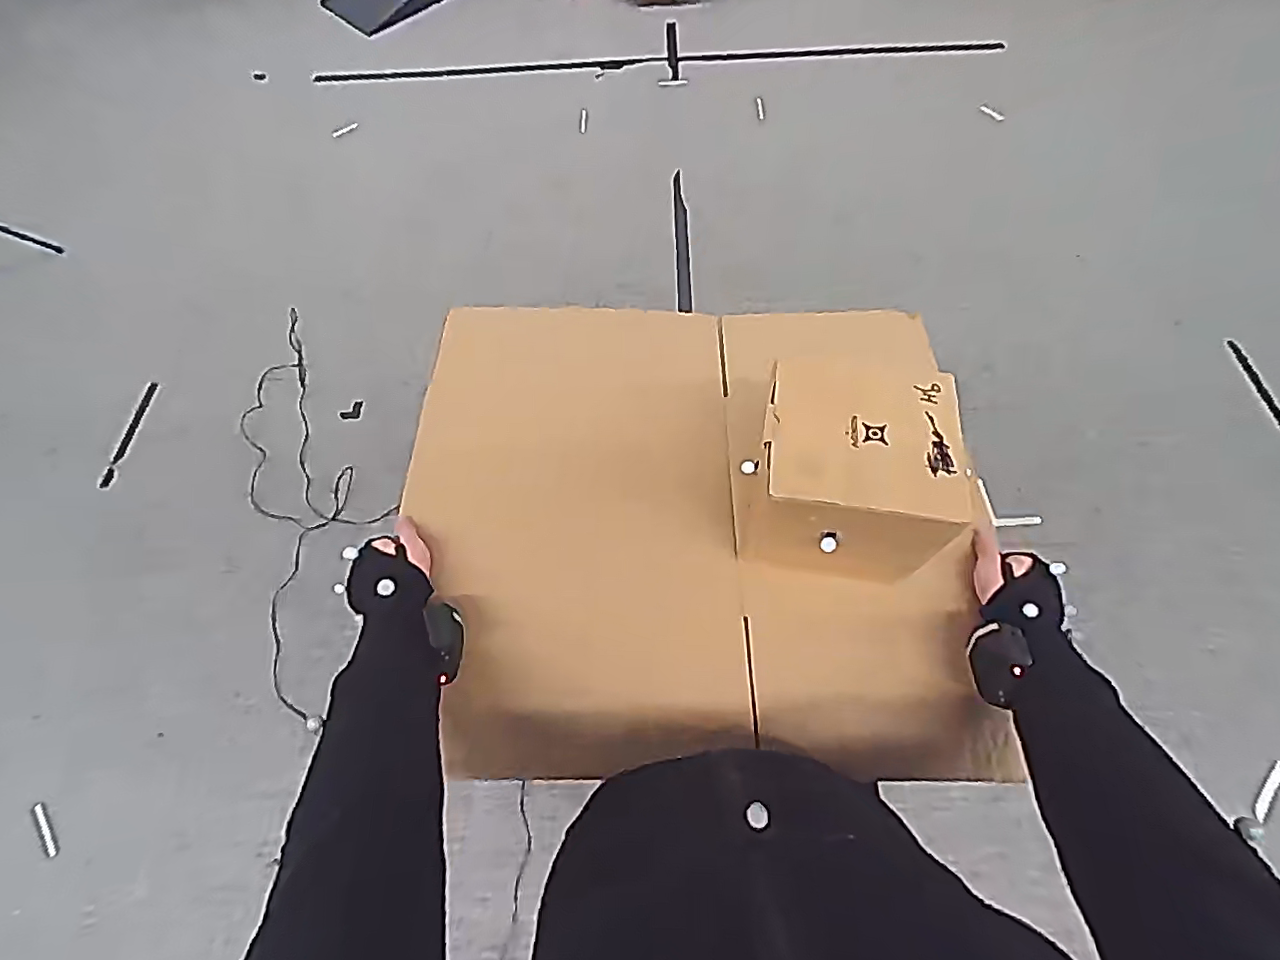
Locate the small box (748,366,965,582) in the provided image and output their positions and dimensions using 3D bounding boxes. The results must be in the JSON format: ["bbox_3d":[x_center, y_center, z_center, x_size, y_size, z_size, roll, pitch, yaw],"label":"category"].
[{"bbox_3d":[0.216,0.000,0.585,0.179,0.176,0.168,7,62,8],"label":"small box"}]
